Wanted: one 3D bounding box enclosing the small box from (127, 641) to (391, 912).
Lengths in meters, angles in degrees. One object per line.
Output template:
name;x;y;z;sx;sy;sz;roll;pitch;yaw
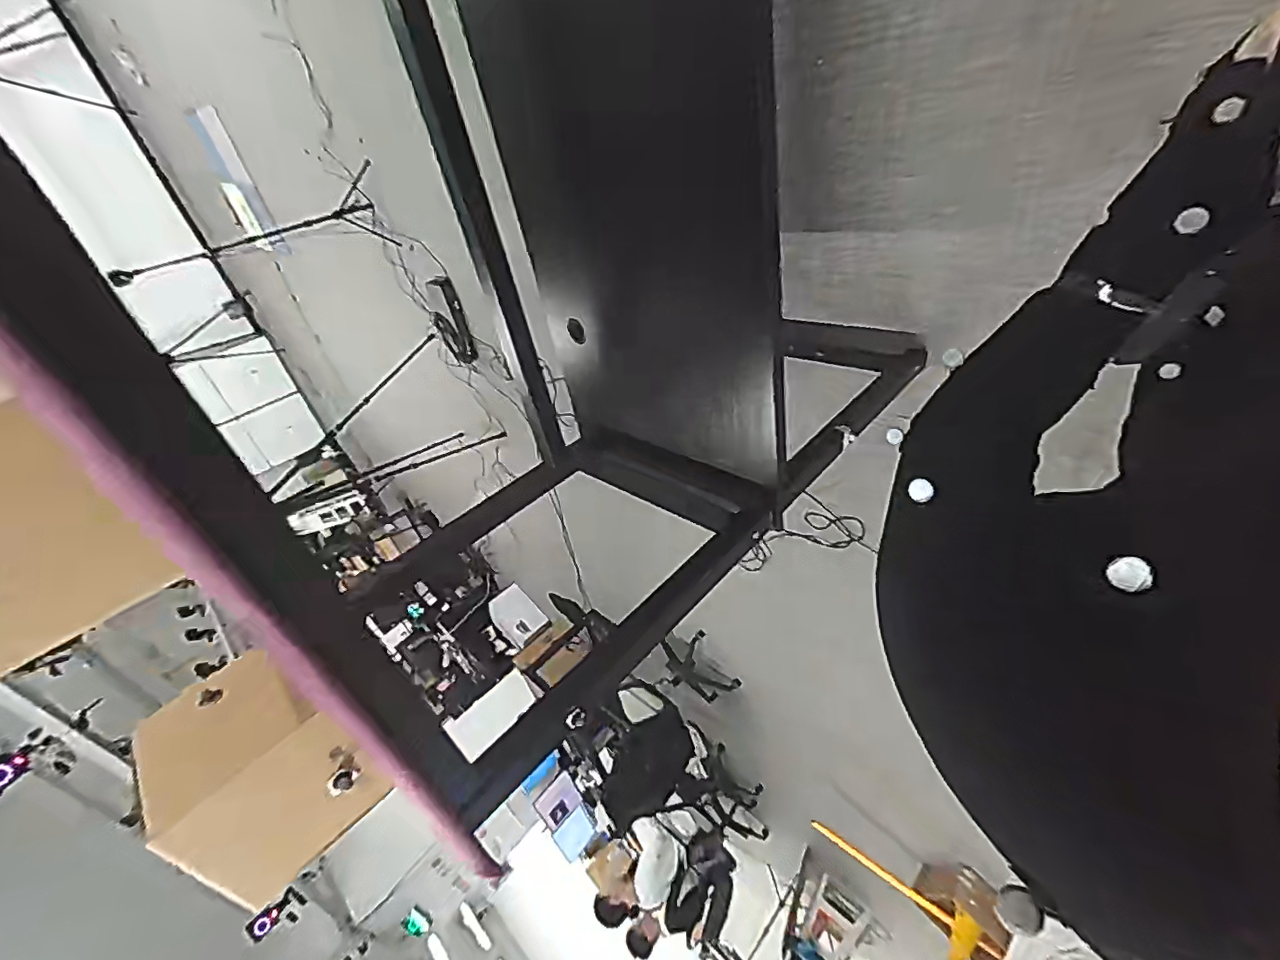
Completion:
small box;-0.413;0.310;0.604;0.179;0.176;0.168;19;137;42

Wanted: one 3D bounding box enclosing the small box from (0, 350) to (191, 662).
small box;-0.504;0.022;0.426;0.168;0.176;0.179;25;139;40
